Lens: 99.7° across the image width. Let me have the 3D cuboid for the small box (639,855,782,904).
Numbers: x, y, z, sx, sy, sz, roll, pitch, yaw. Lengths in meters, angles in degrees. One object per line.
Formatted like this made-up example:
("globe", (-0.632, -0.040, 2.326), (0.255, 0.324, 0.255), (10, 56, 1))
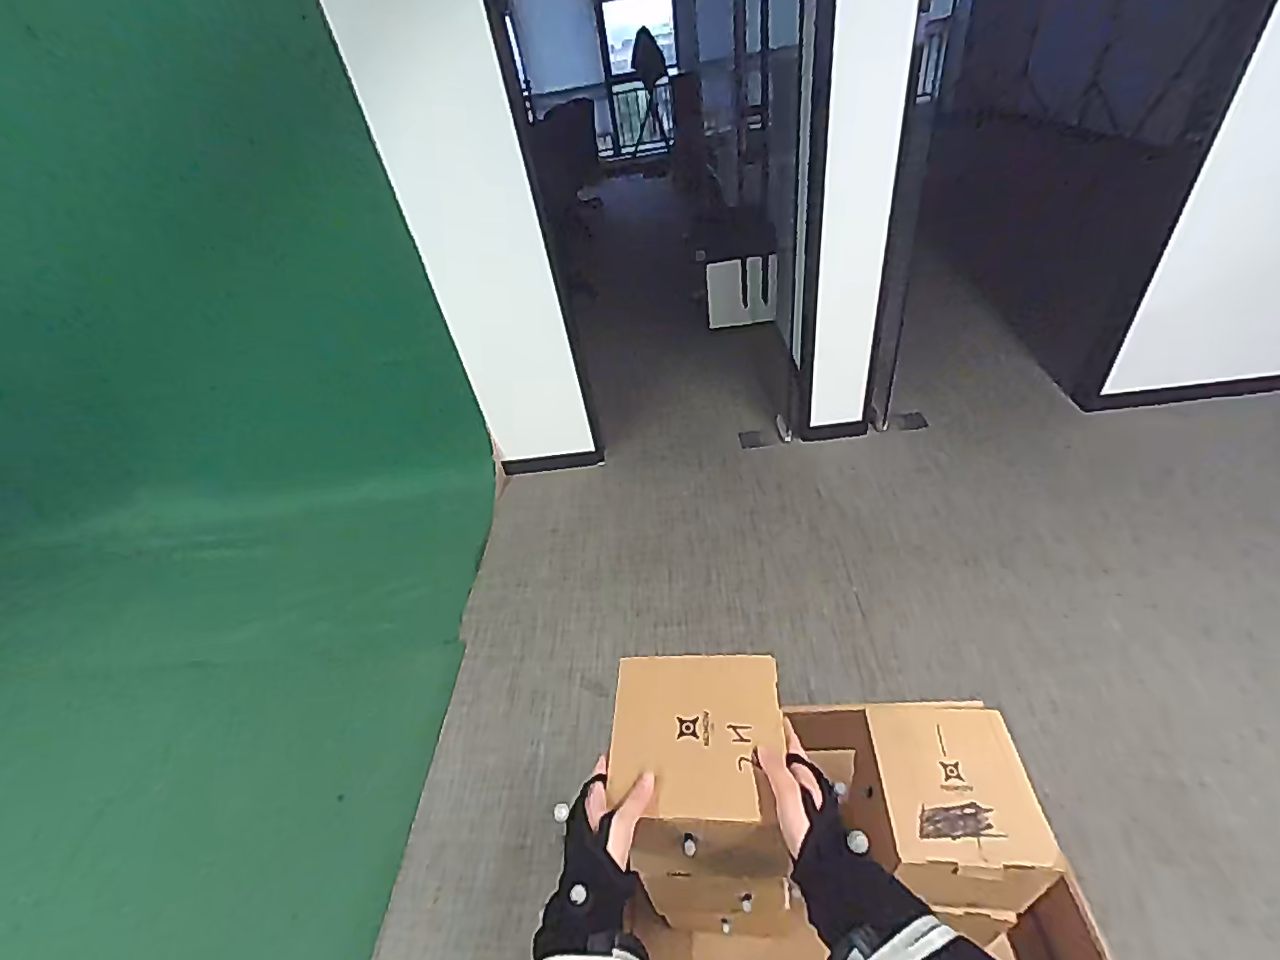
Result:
("small box", (0.097, 0.442, 0.723), (0.168, 0.176, 0.179), (-5, 39, 8))

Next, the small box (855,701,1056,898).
("small box", (0.381, 0.407, 0.692), (0.168, 0.176, 0.179), (-4, 39, 10))

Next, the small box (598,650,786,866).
("small box", (0.065, 0.307, 0.600), (0.179, 0.176, 0.168), (-3, 42, 9))
